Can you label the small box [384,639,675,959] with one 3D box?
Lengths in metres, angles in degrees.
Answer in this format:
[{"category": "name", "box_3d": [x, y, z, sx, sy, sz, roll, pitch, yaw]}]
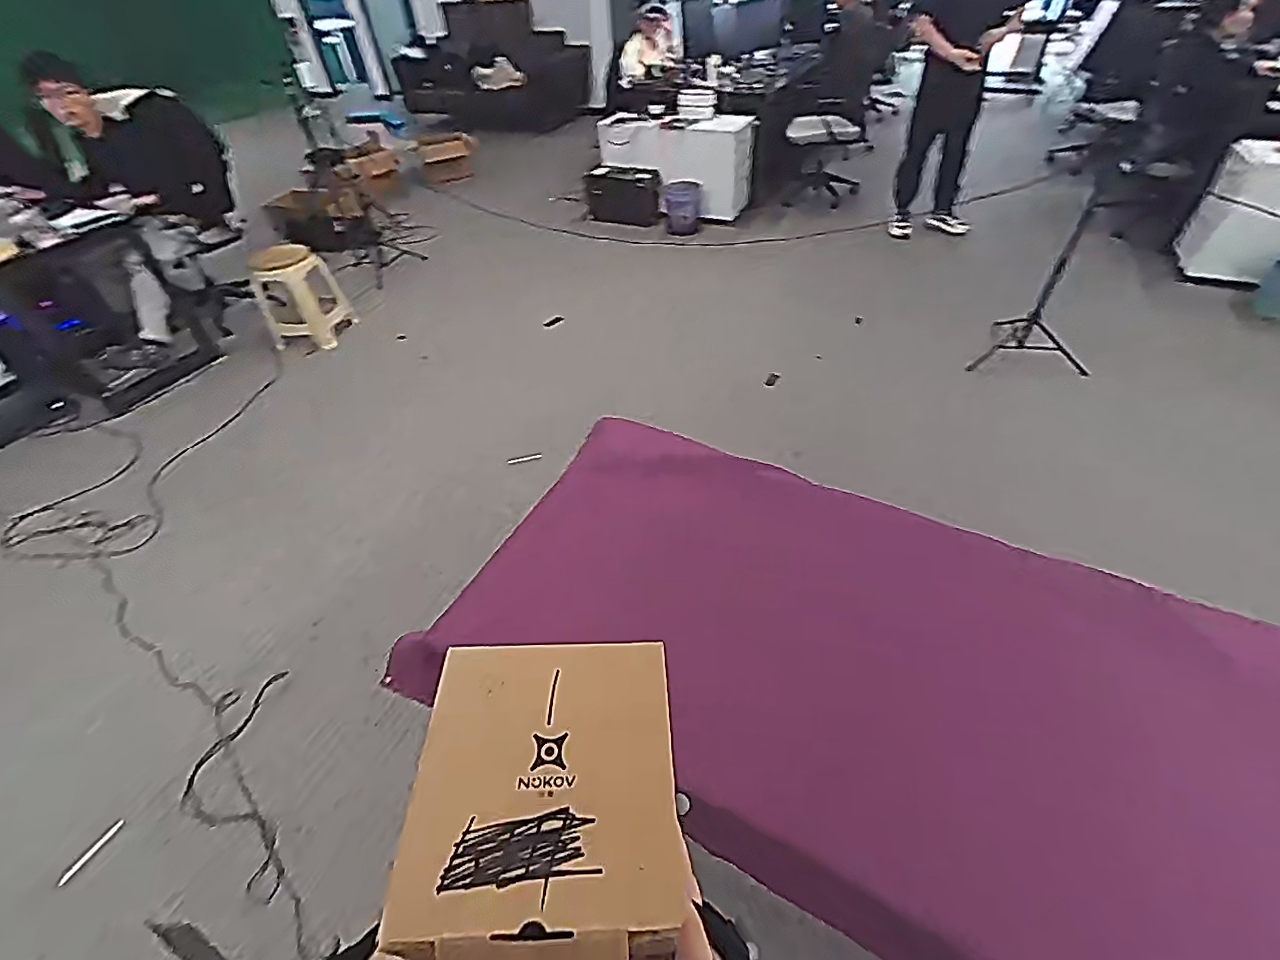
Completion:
[{"category": "small box", "box_3d": [-0.061, 0.241, 0.410, 0.168, 0.176, 0.179, 0, 42, -1]}]
